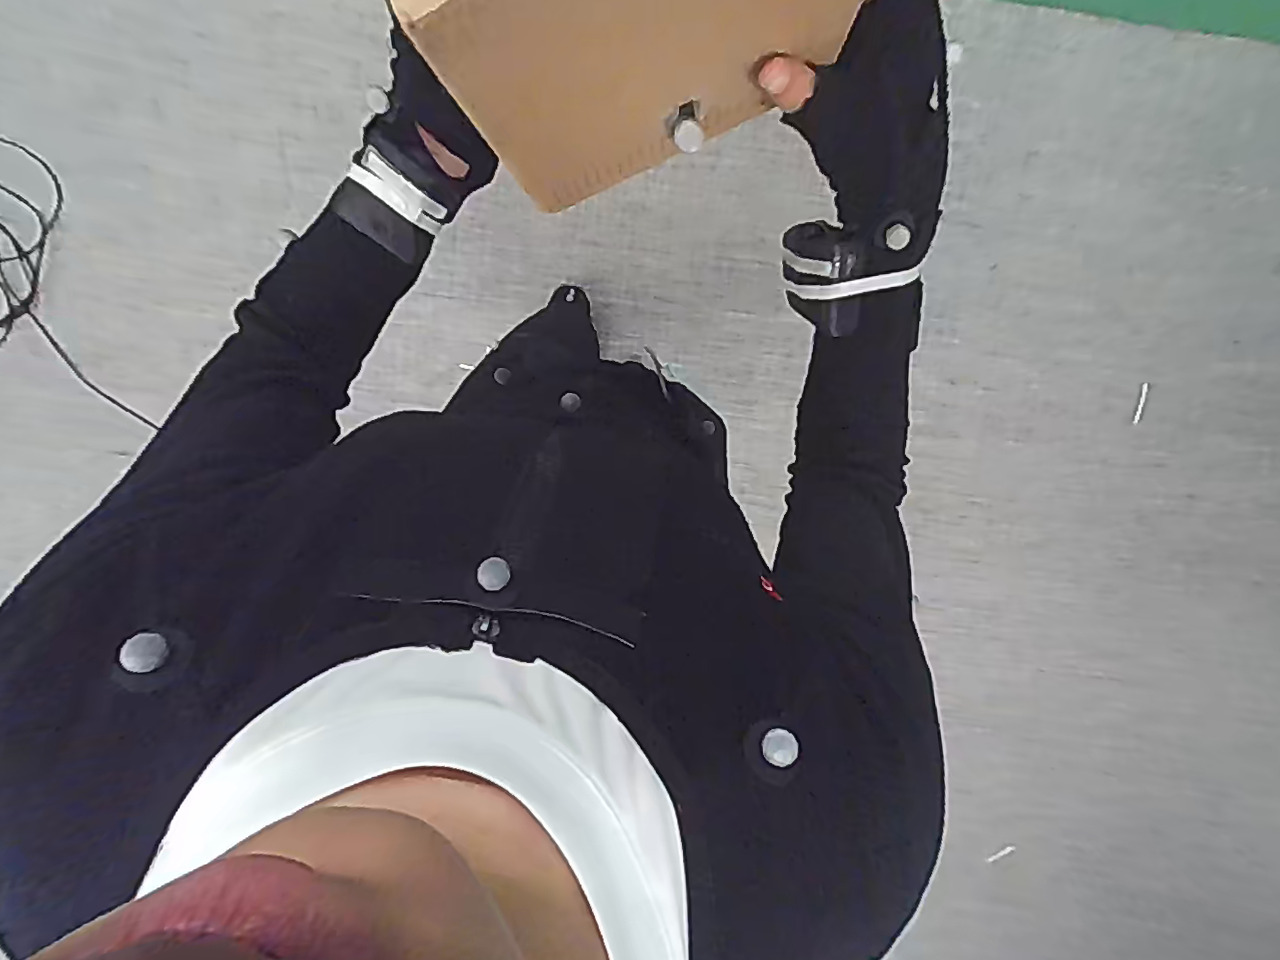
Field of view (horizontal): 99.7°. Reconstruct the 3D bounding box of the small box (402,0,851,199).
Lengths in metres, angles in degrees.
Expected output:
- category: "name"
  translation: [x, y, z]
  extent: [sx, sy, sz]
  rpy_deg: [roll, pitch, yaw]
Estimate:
- category: "small box"
  translation: [-0.011, -0.249, 0.214]
  extent: [0.179, 0.176, 0.168]
  rpy_deg: [-22, 96, 7]
